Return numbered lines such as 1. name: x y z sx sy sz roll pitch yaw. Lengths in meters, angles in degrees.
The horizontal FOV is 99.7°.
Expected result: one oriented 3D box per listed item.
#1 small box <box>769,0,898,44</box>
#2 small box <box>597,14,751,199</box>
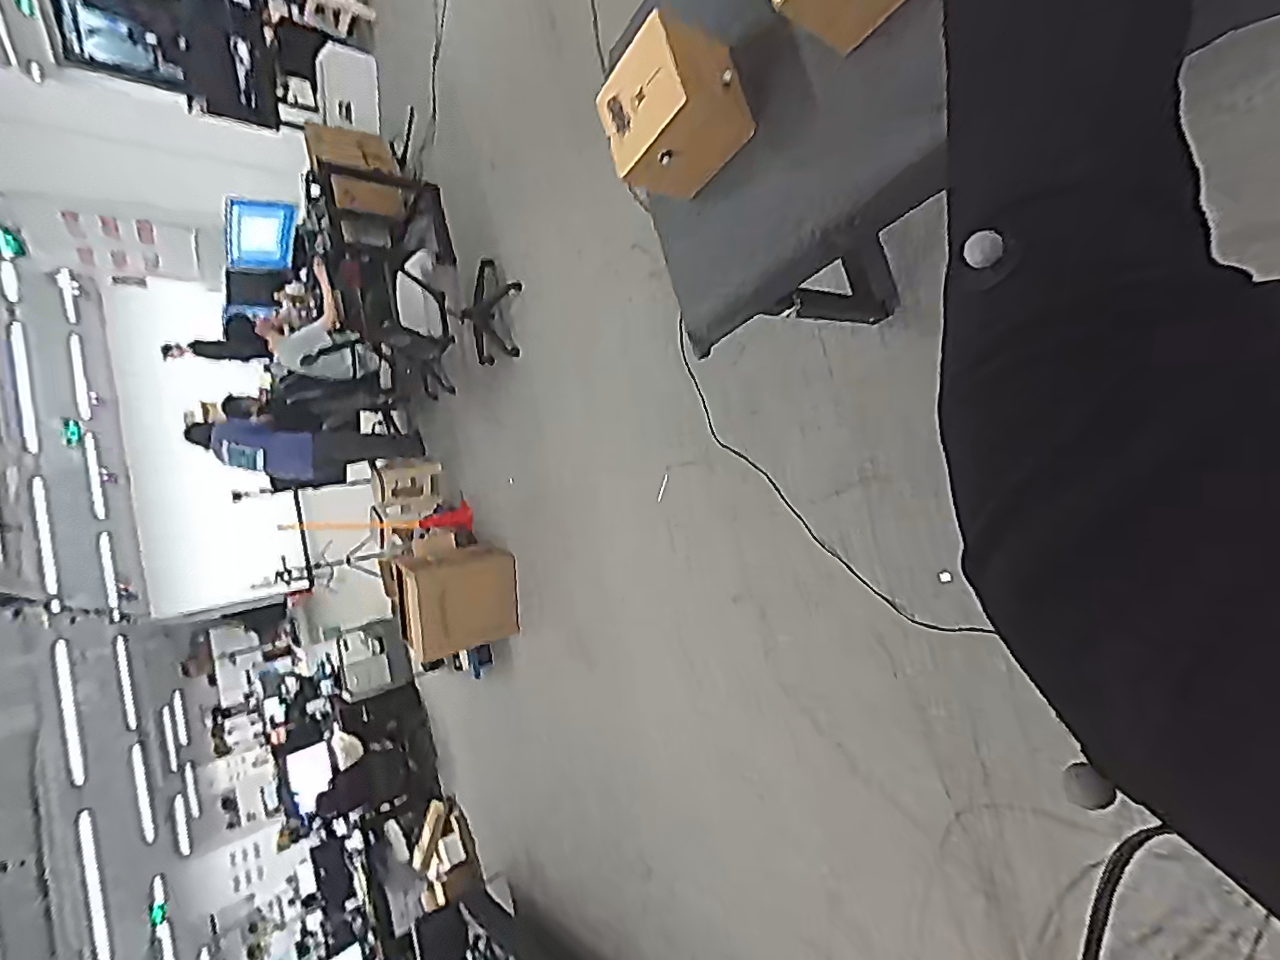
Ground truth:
1. small box: 0.254 -0.687 0.664 0.168 0.176 0.179 -22 81 51
2. small box: 0.057 -0.614 0.920 0.179 0.176 0.168 -25 78 49
